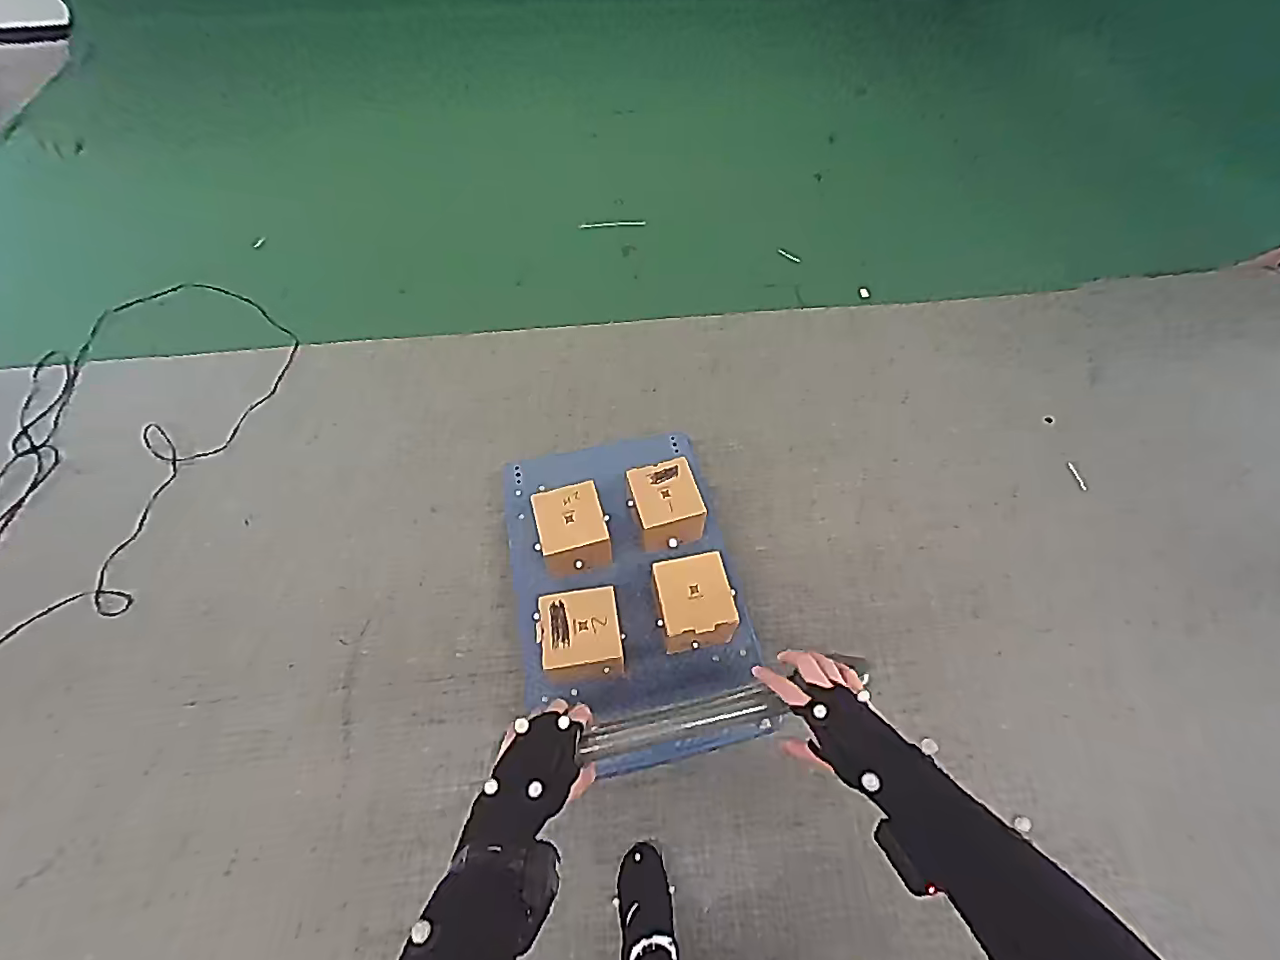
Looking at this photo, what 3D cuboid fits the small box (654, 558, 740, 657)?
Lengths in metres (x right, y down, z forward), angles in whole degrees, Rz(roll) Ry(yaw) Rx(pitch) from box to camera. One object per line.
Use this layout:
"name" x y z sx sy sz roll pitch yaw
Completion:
"small box" 0.130 0.314 1.325 0.168 0.176 0.179 -10 59 -6

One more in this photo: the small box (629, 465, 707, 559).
"small box" 0.070 0.088 1.462 0.168 0.176 0.179 -14 60 -7

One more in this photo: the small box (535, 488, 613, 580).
"small box" -0.171 0.150 1.425 0.168 0.176 0.179 -13 59 -9
